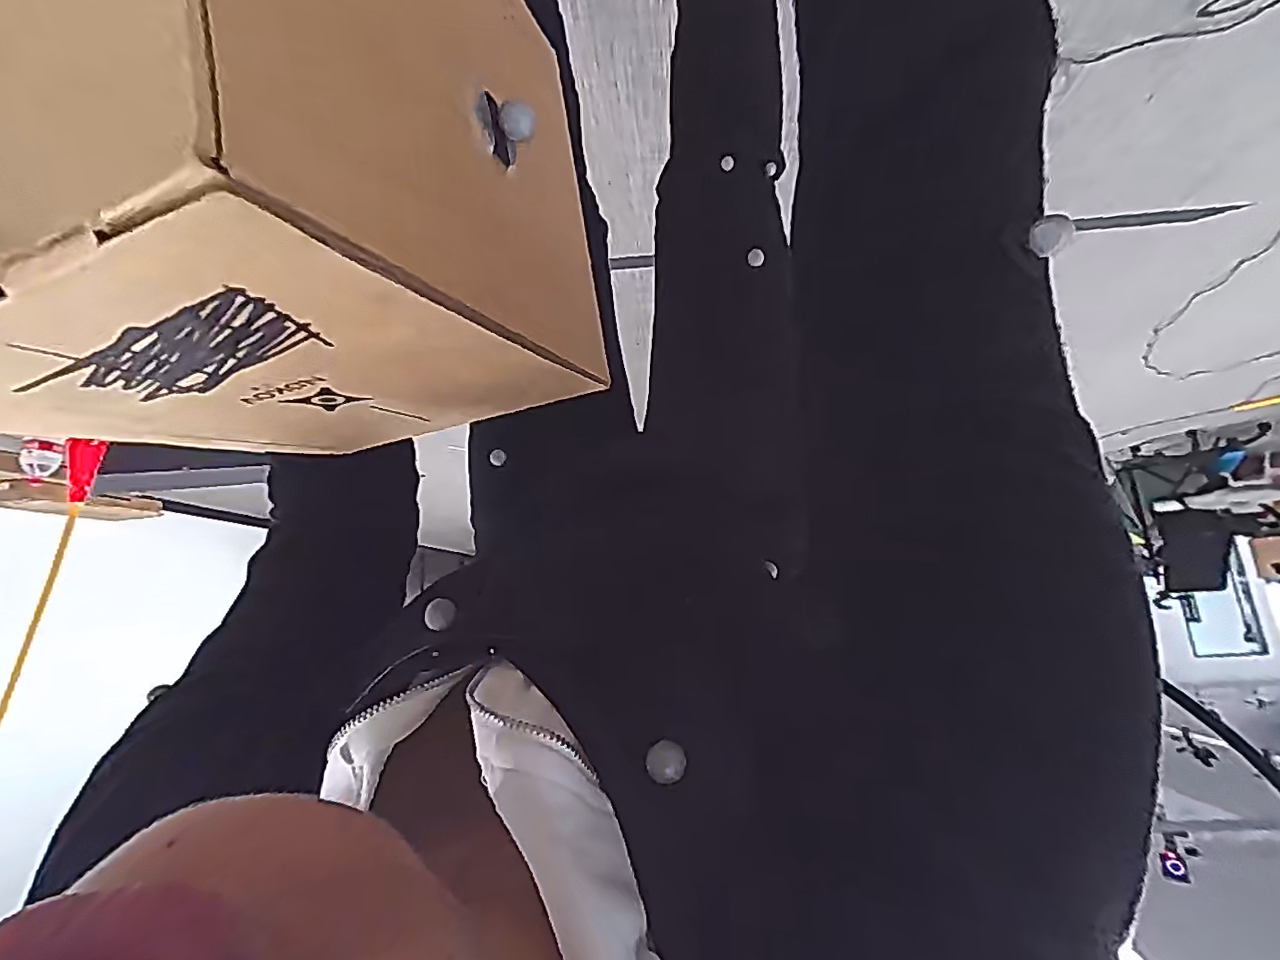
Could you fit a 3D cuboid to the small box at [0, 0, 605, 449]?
[{"bbox_3d":[-0.130,-0.116,0.200,0.168,0.176,0.179,-11,176,17],"label":"small box"}]
